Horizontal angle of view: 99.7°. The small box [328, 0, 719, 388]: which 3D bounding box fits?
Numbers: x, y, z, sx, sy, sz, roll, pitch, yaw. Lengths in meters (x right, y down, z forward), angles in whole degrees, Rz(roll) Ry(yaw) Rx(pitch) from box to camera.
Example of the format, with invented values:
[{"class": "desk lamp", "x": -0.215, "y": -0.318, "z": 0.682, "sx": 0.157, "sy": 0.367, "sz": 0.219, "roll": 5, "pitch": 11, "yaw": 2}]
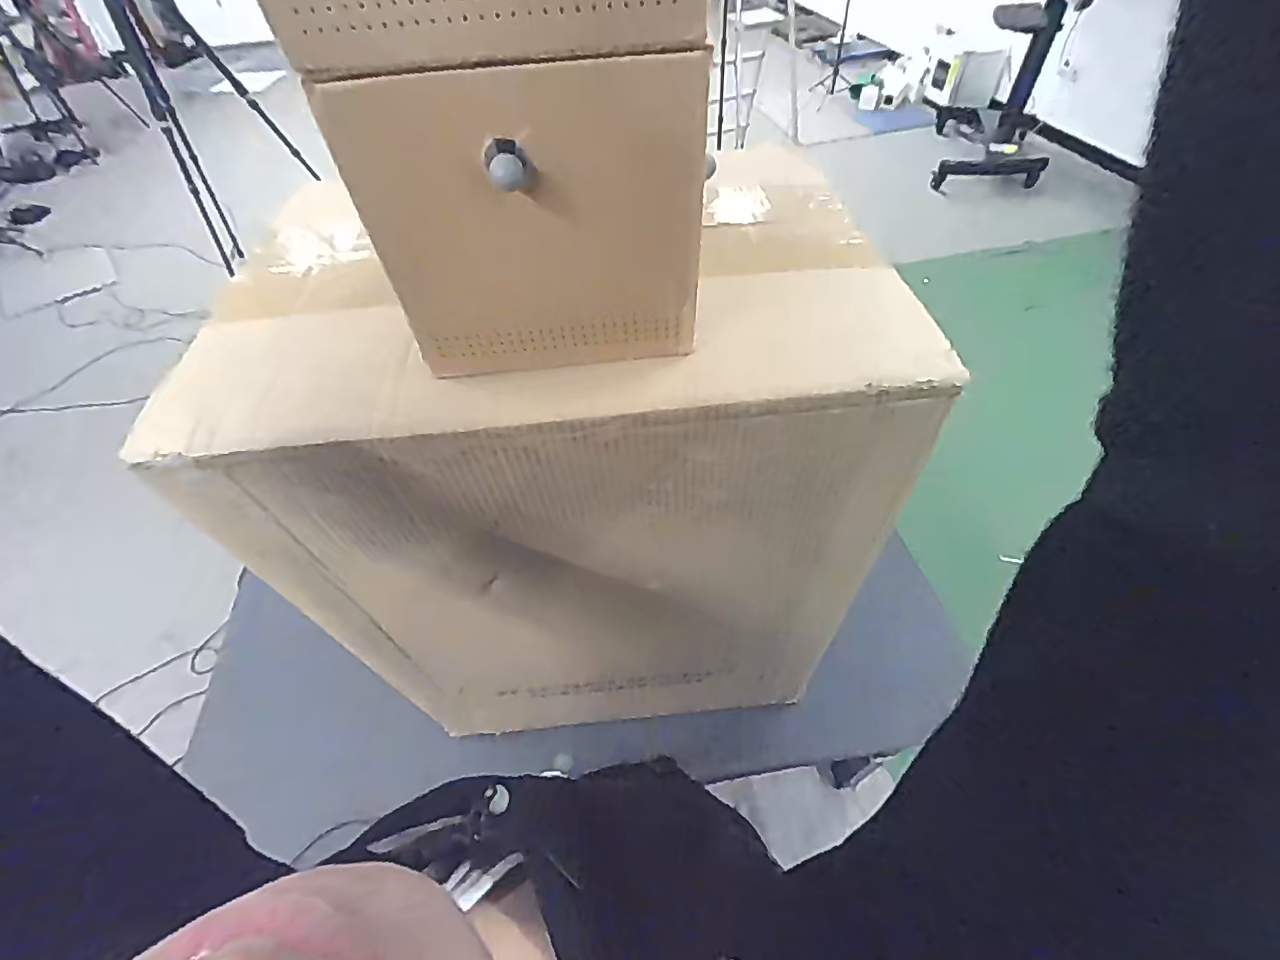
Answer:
[{"class": "small box", "x": -0.054, "y": -0.178, "z": 0.348, "sx": 0.179, "sy": 0.176, "sz": 0.168, "roll": -6, "pitch": 53, "yaw": -1}]
